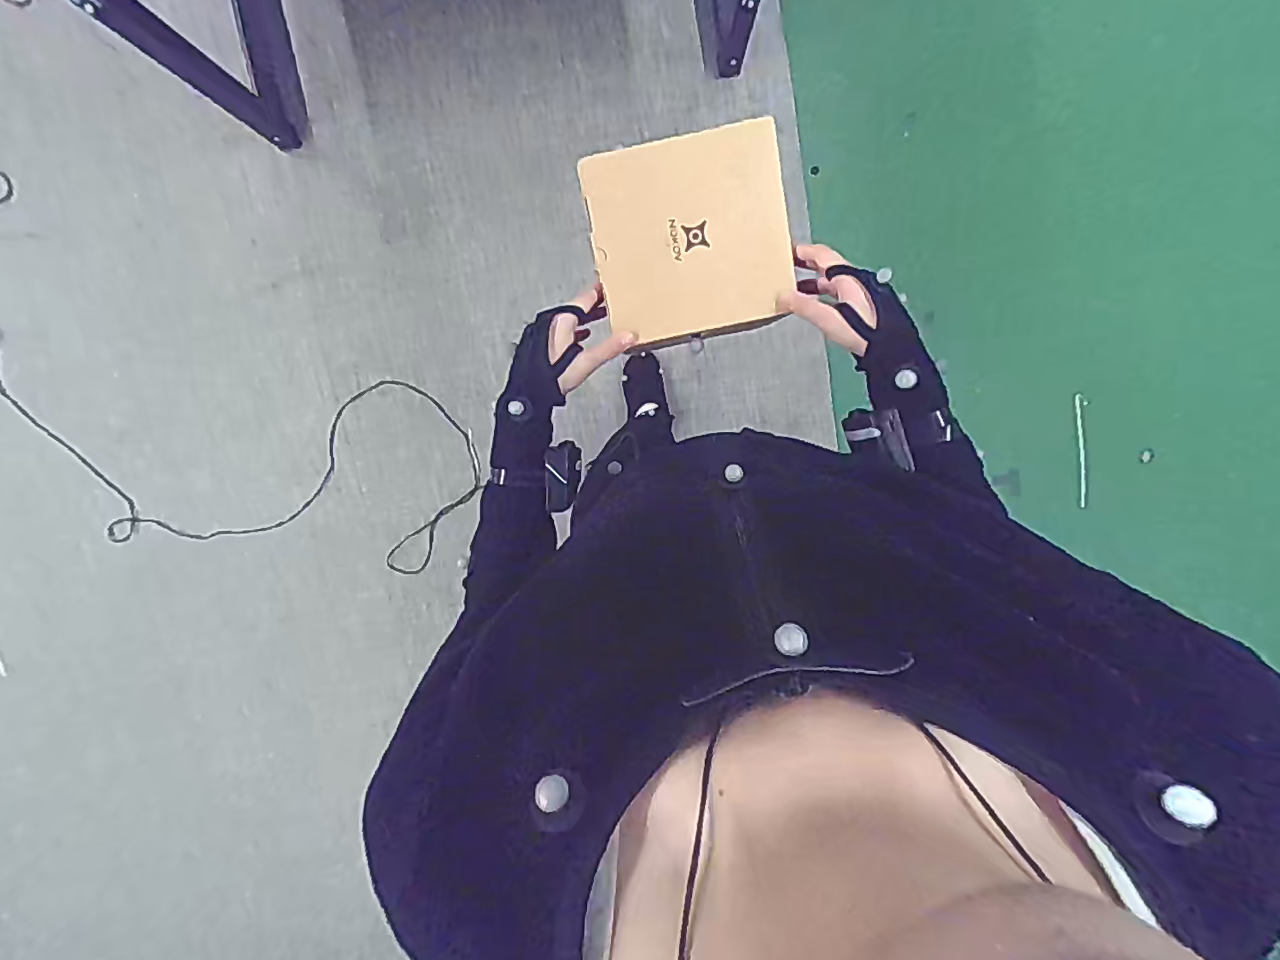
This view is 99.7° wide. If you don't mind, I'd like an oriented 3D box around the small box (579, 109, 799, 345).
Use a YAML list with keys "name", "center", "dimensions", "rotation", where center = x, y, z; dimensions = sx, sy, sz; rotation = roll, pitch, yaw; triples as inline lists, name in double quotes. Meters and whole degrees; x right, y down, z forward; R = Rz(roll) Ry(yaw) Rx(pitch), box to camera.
- name: "small box"
  center: [0.049, -0.240, 0.561]
  dimensions: [0.179, 0.176, 0.168]
  rotation: [-11, 101, 6]

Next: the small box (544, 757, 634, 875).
- name: "small box"
  center: [-0.119, 0.813, 1.330]
  dimensions: [0.168, 0.176, 0.179]
  rotation: [-17, 95, 6]
